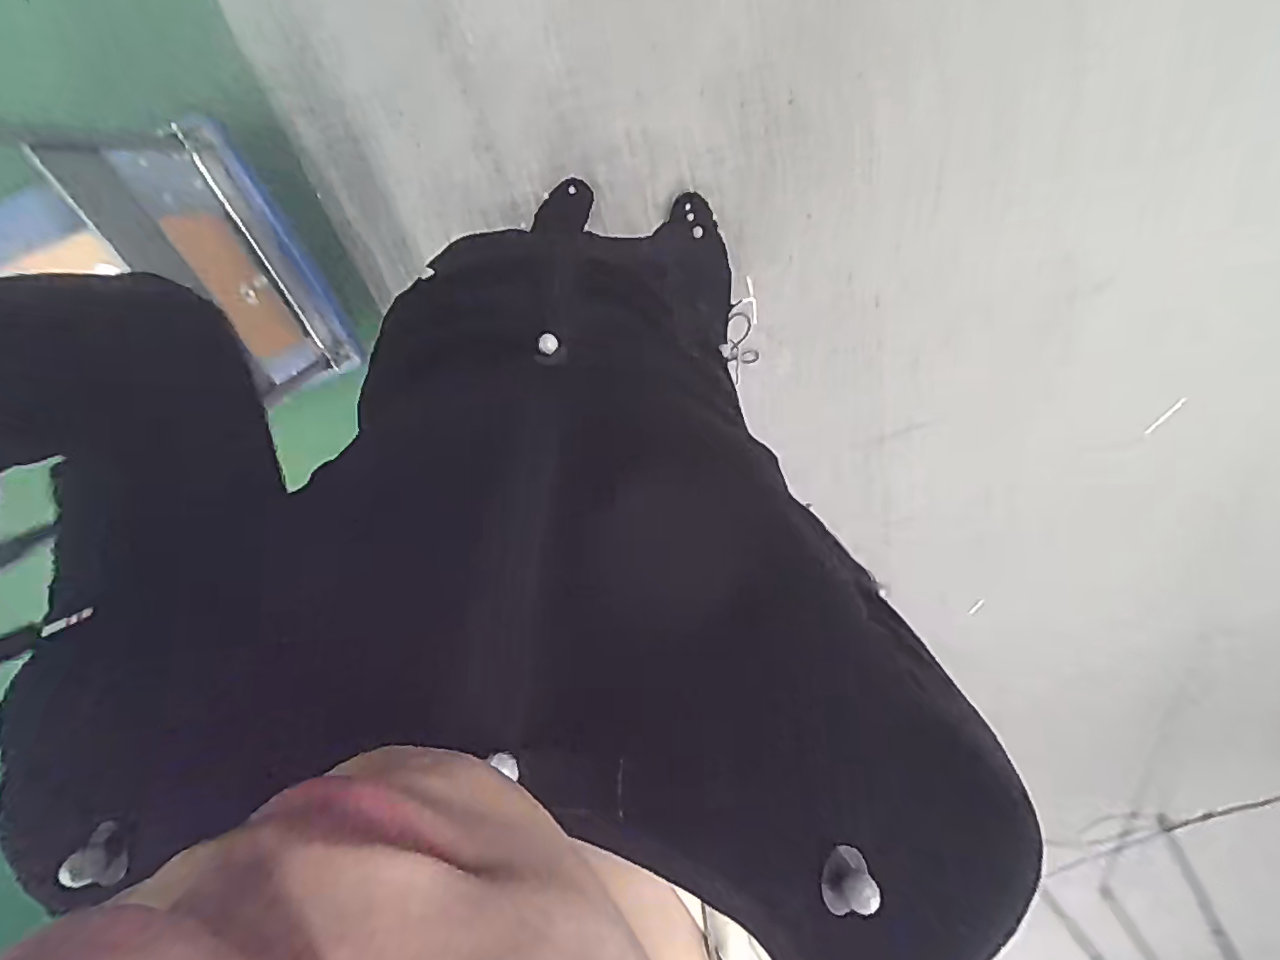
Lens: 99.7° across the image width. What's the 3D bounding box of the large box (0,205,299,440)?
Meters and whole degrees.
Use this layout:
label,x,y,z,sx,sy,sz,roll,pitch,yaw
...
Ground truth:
label,x,y,z,sx,sy,sz,roll,pitch,yaw
large box,-1.056,-0.340,1.148,0.408,0.320,0.320,-16,121,9
